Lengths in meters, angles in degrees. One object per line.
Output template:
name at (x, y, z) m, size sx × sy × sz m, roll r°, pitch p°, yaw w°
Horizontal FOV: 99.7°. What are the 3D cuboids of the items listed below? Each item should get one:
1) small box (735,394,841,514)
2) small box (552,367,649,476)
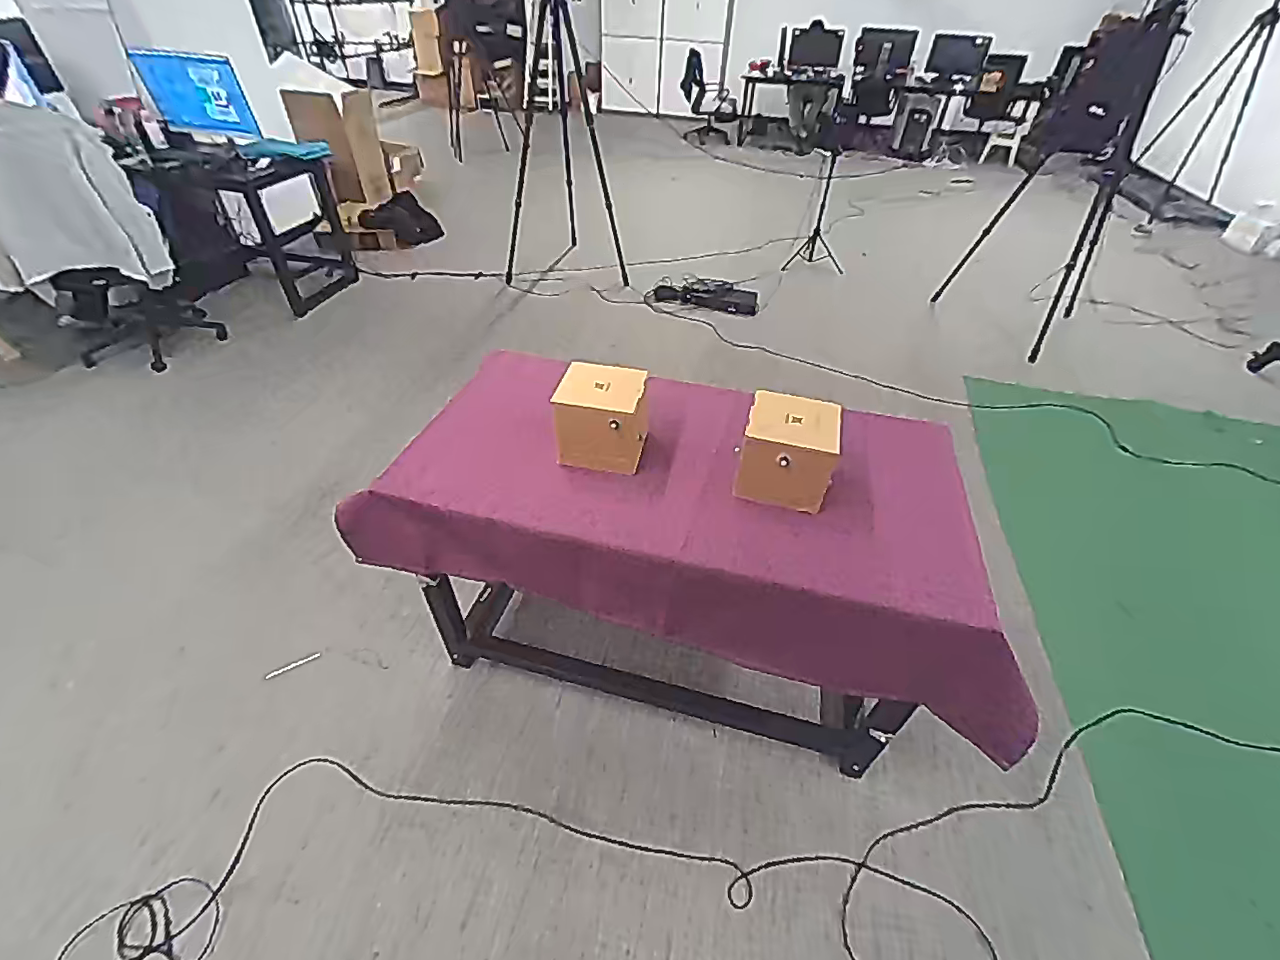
small box at (0.301, -0.052, 1.113) m, size 0.179 × 0.176 × 0.168 m, roll 13°, pitch 44°, yaw 11°
small box at (-0.082, -0.127, 1.185) m, size 0.179 × 0.176 × 0.168 m, roll 9°, pitch 42°, yaw 6°
